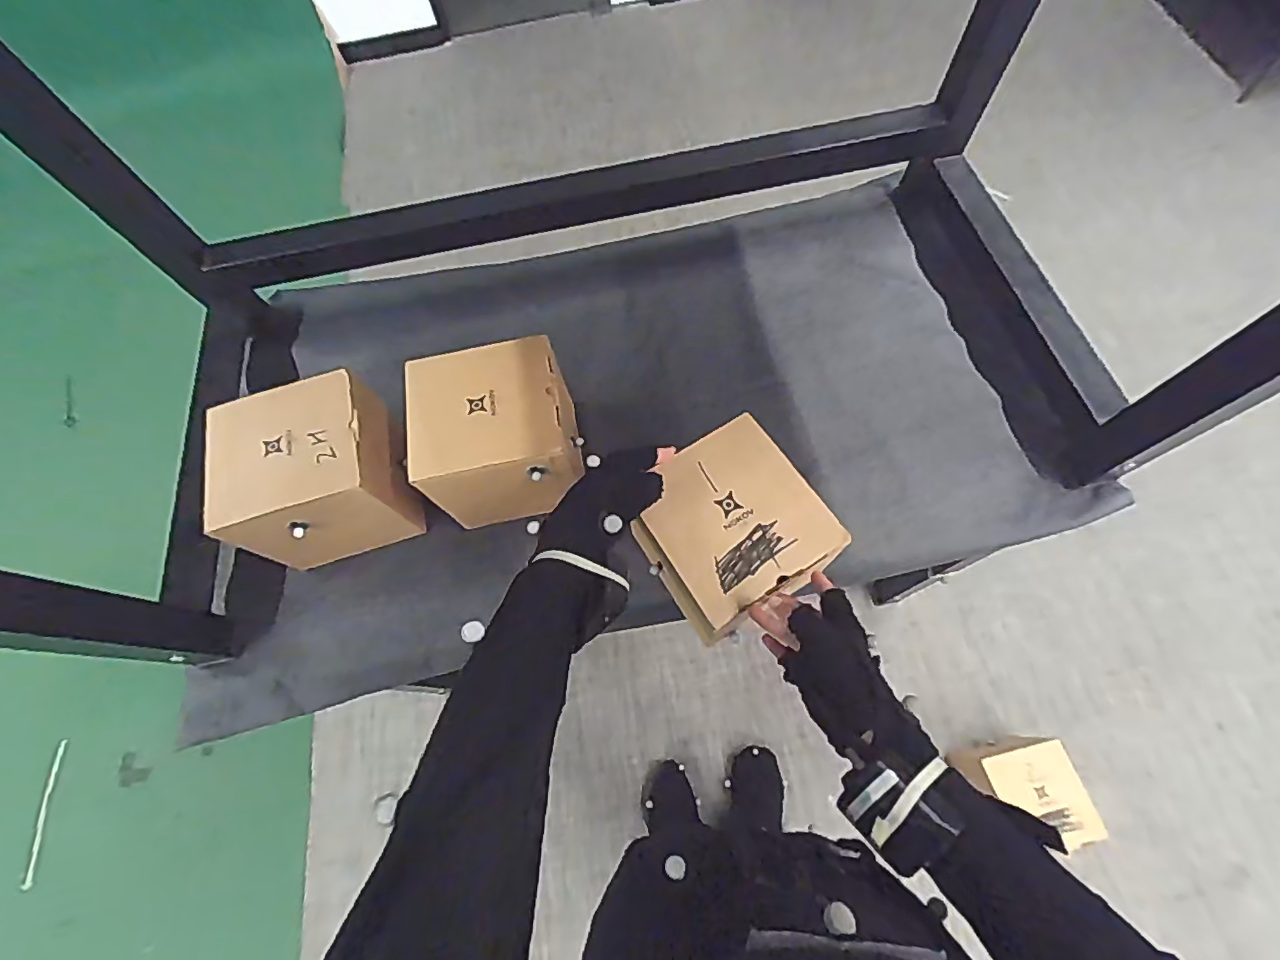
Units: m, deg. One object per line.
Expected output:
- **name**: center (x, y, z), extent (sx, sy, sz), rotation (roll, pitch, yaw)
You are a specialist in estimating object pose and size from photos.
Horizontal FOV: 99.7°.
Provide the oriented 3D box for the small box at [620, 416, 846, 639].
- **small box**: center (0.097, 0.066, 0.617), extent (0.168, 0.176, 0.179), rotation (-30, 68, -8)
